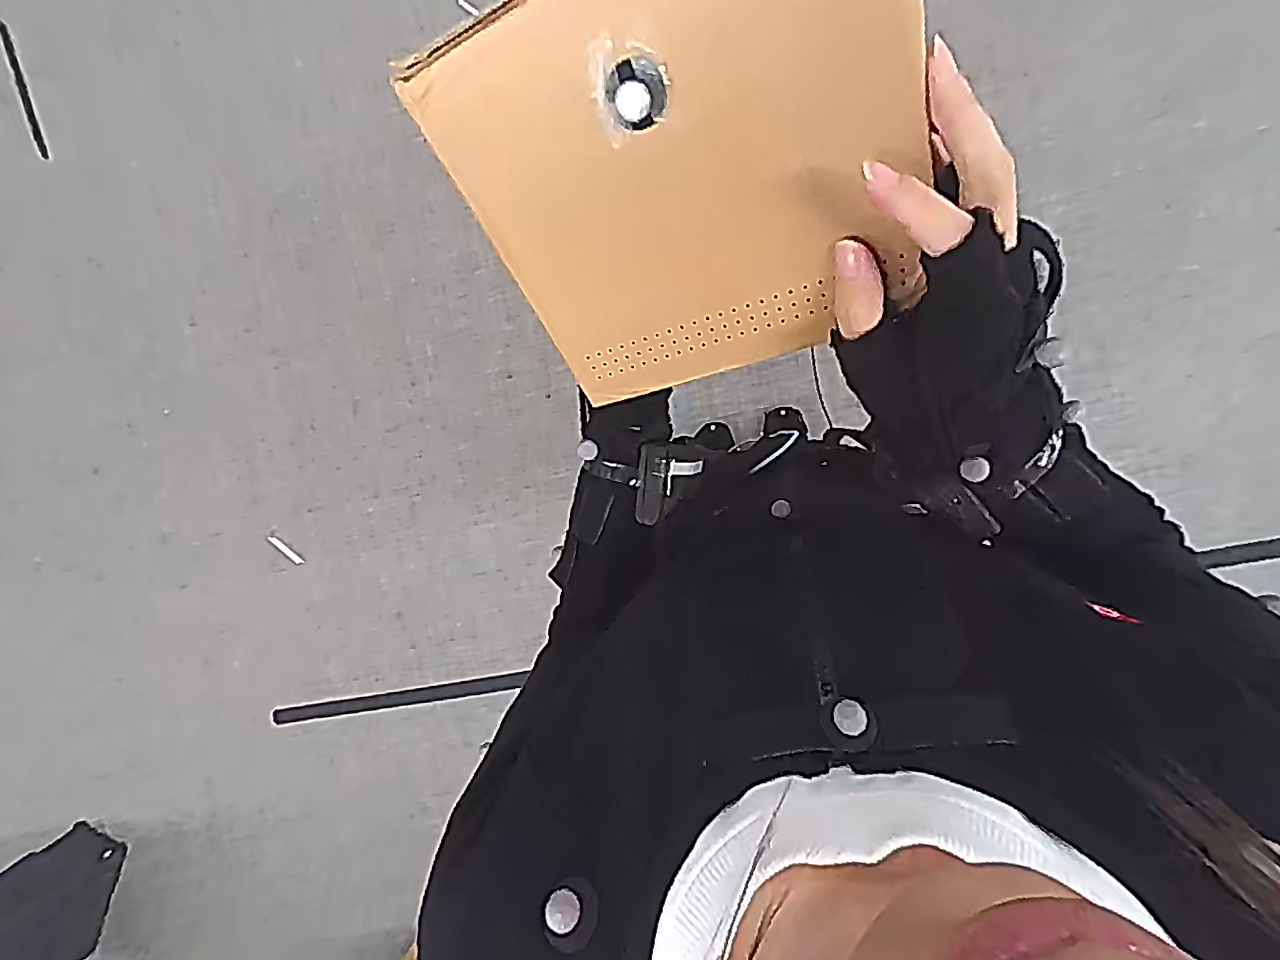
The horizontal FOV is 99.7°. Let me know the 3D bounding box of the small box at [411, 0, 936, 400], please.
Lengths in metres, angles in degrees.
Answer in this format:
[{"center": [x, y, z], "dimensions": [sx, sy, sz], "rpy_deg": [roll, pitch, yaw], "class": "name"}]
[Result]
[{"center": [0.033, -0.164, 0.275], "dimensions": [0.179, 0.168, 0.176], "rpy_deg": [-12, 135, 22], "class": "small box"}]
